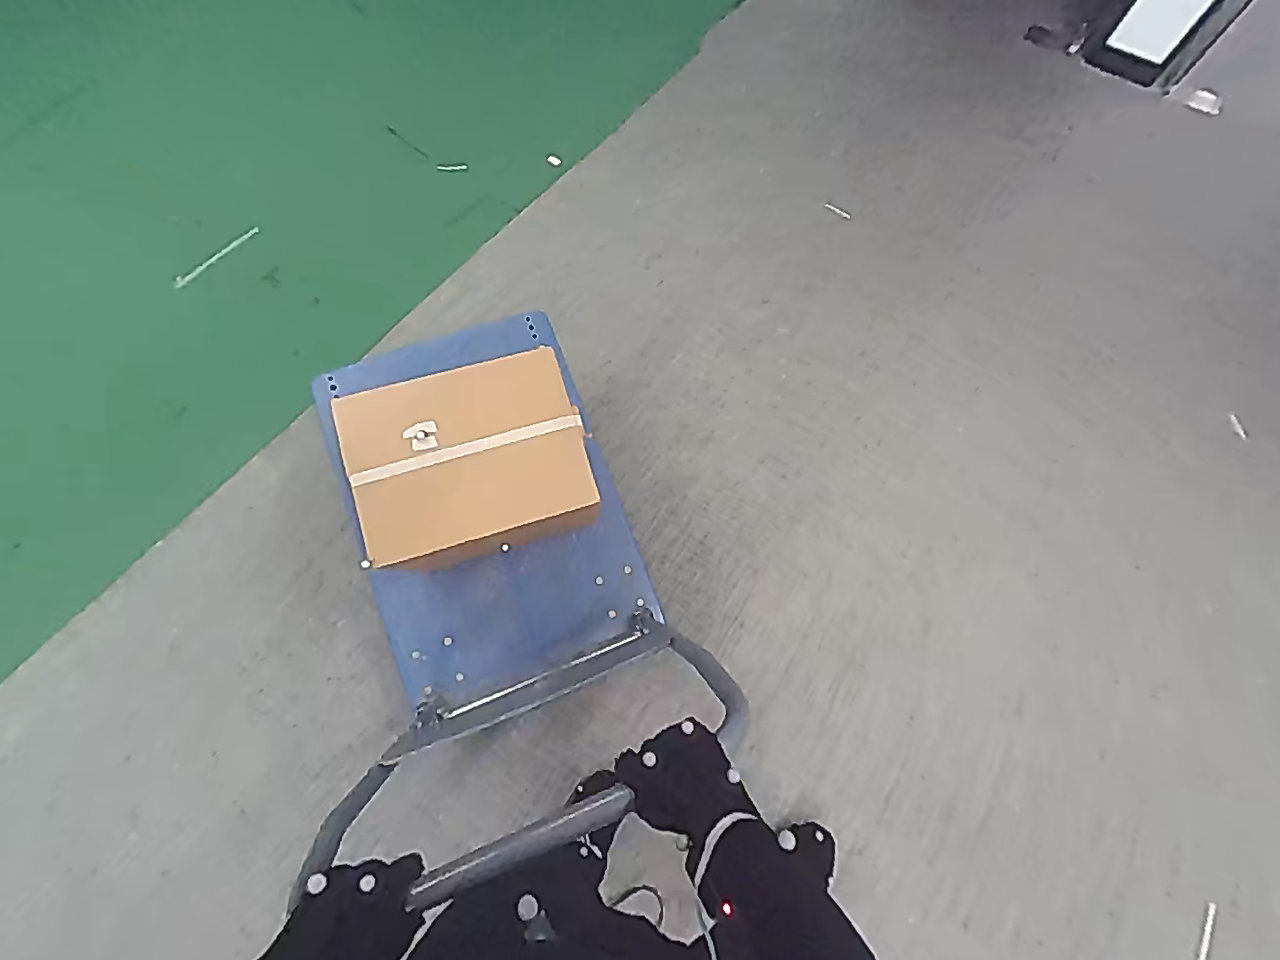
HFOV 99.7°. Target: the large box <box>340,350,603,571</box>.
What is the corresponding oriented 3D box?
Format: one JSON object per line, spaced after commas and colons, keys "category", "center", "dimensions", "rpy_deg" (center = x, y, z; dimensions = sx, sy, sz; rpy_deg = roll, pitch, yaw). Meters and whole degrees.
{"category": "large box", "center": [-0.313, -0.021, 1.109], "dimensions": [0.408, 0.320, 0.320], "rpy_deg": [-17, 81, -8]}
